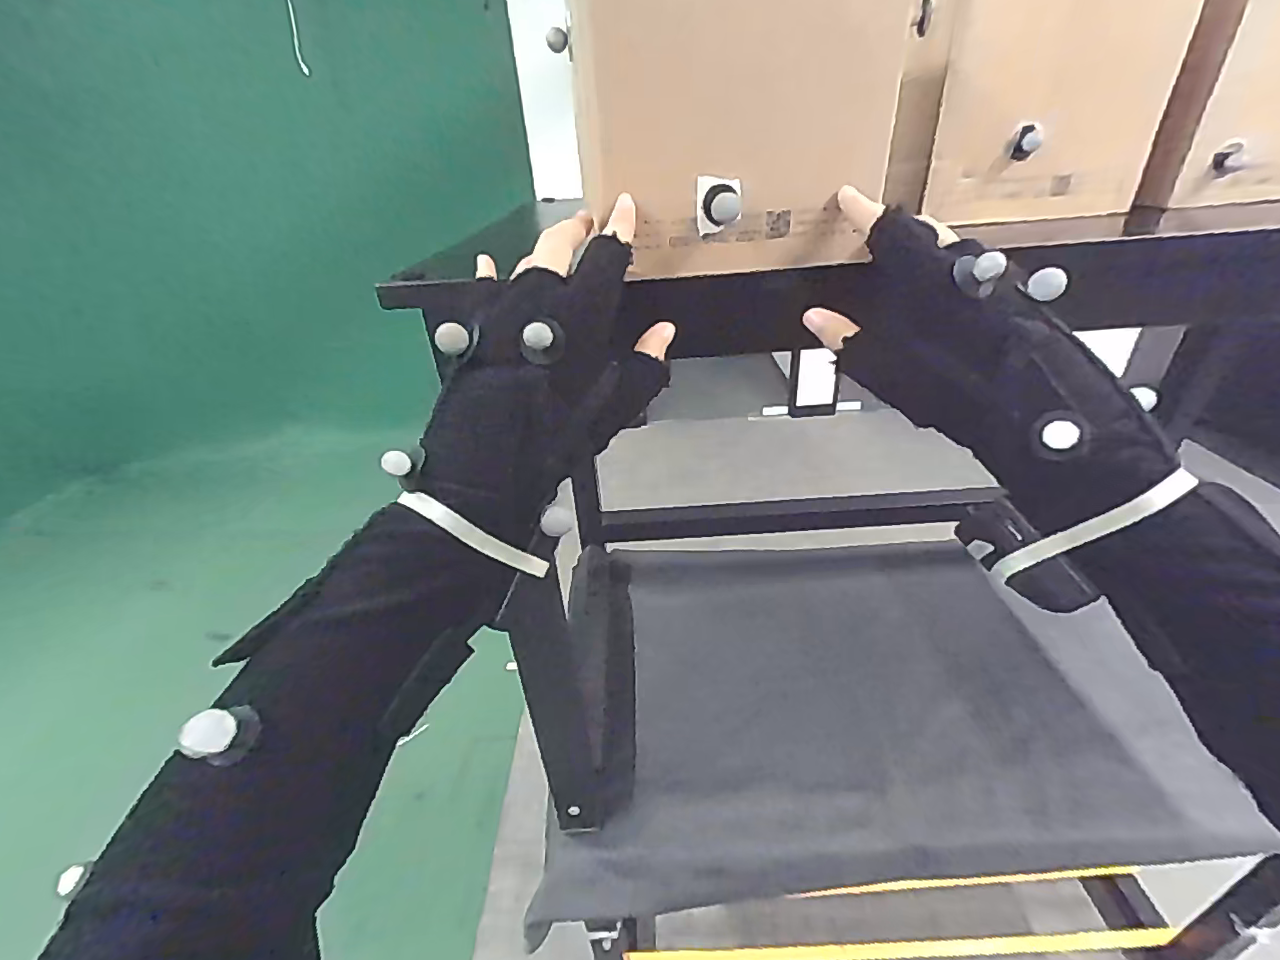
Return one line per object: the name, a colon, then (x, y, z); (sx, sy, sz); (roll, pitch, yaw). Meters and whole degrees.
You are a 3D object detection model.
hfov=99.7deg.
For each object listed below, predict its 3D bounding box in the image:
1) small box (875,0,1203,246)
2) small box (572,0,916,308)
small box: (0.284, -0.298, 0.453); (0.168, 0.176, 0.179); (-4, 32, 0)
small box: (0.046, -0.220, 0.355); (0.168, 0.176, 0.179); (-7, 33, -4)
